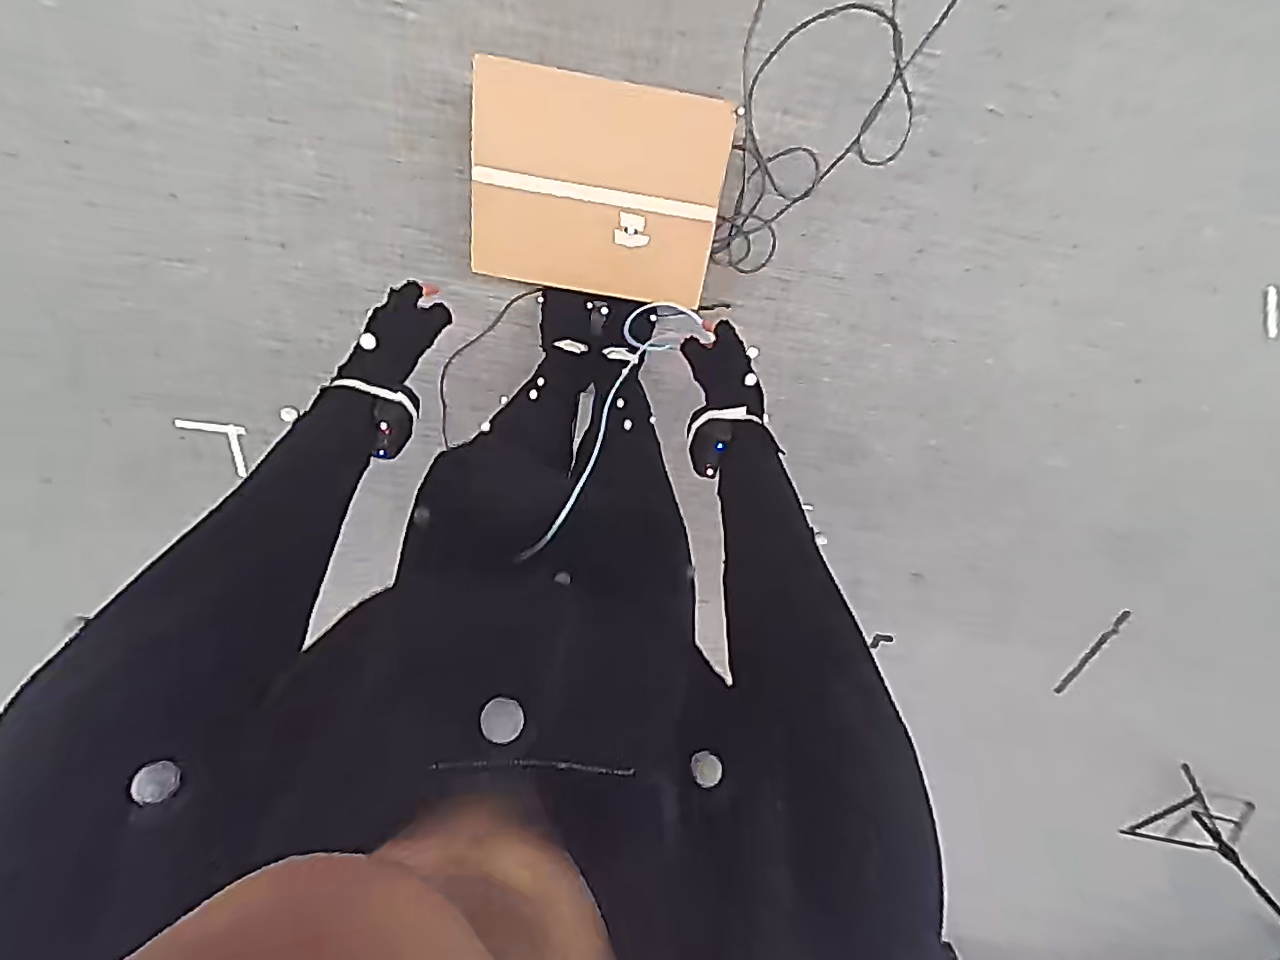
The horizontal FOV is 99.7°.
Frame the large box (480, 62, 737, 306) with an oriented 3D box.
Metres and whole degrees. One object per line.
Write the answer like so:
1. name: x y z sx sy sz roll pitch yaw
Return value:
1. large box: -0.068 -0.543 1.028 0.408 0.320 0.320 8 119 -4
